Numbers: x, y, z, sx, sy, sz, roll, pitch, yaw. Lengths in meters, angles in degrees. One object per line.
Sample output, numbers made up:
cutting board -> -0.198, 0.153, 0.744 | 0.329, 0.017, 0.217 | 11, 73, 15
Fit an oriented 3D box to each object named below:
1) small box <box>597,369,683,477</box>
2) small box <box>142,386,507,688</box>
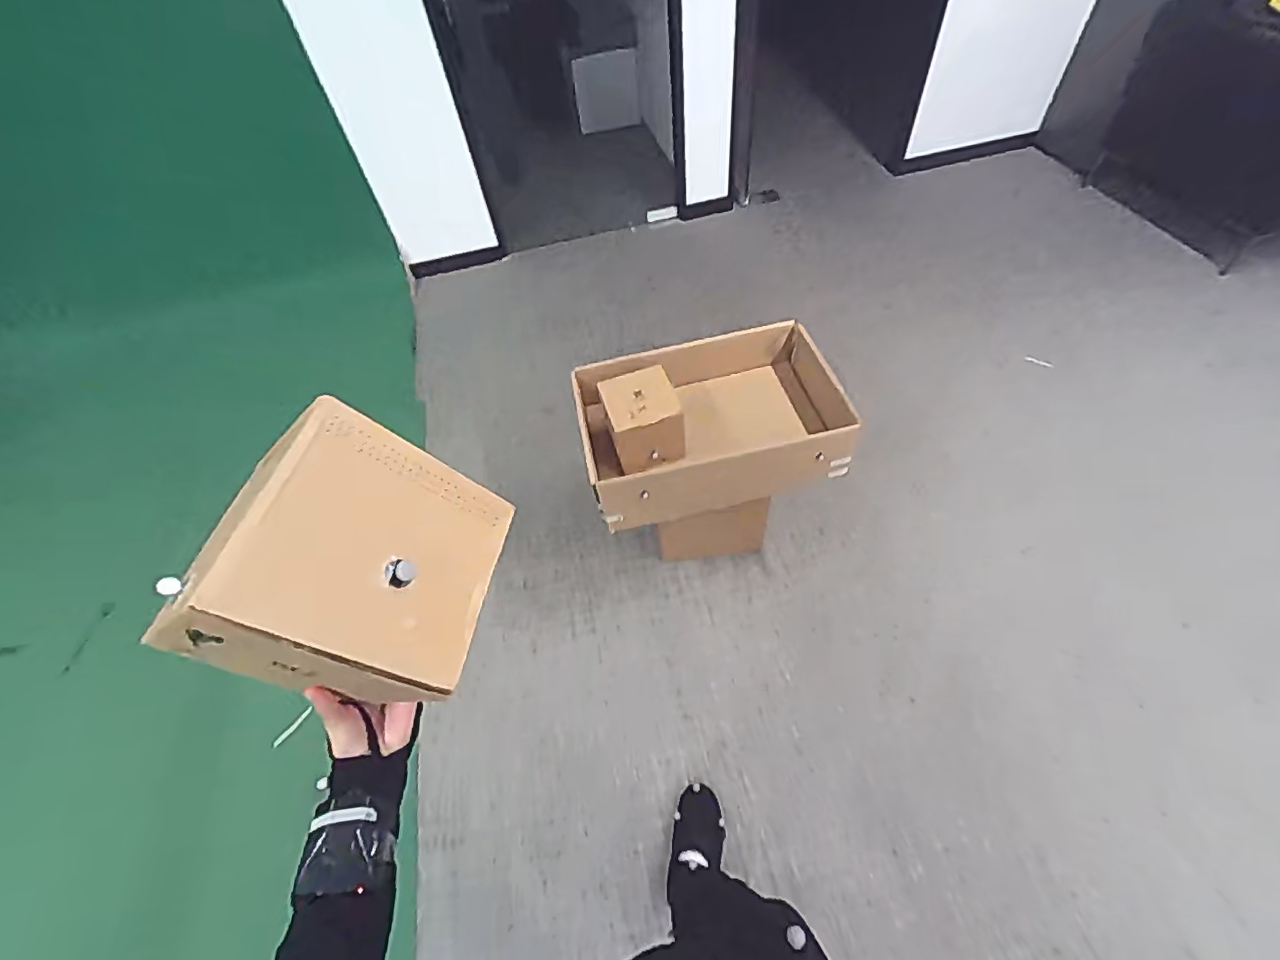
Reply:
small box -> 0.001, -0.138, 1.324 | 0.168, 0.176, 0.179 | -17, 53, -5
small box -> -0.236, 0.056, 0.438 | 0.168, 0.179, 0.176 | -22, 44, 38
